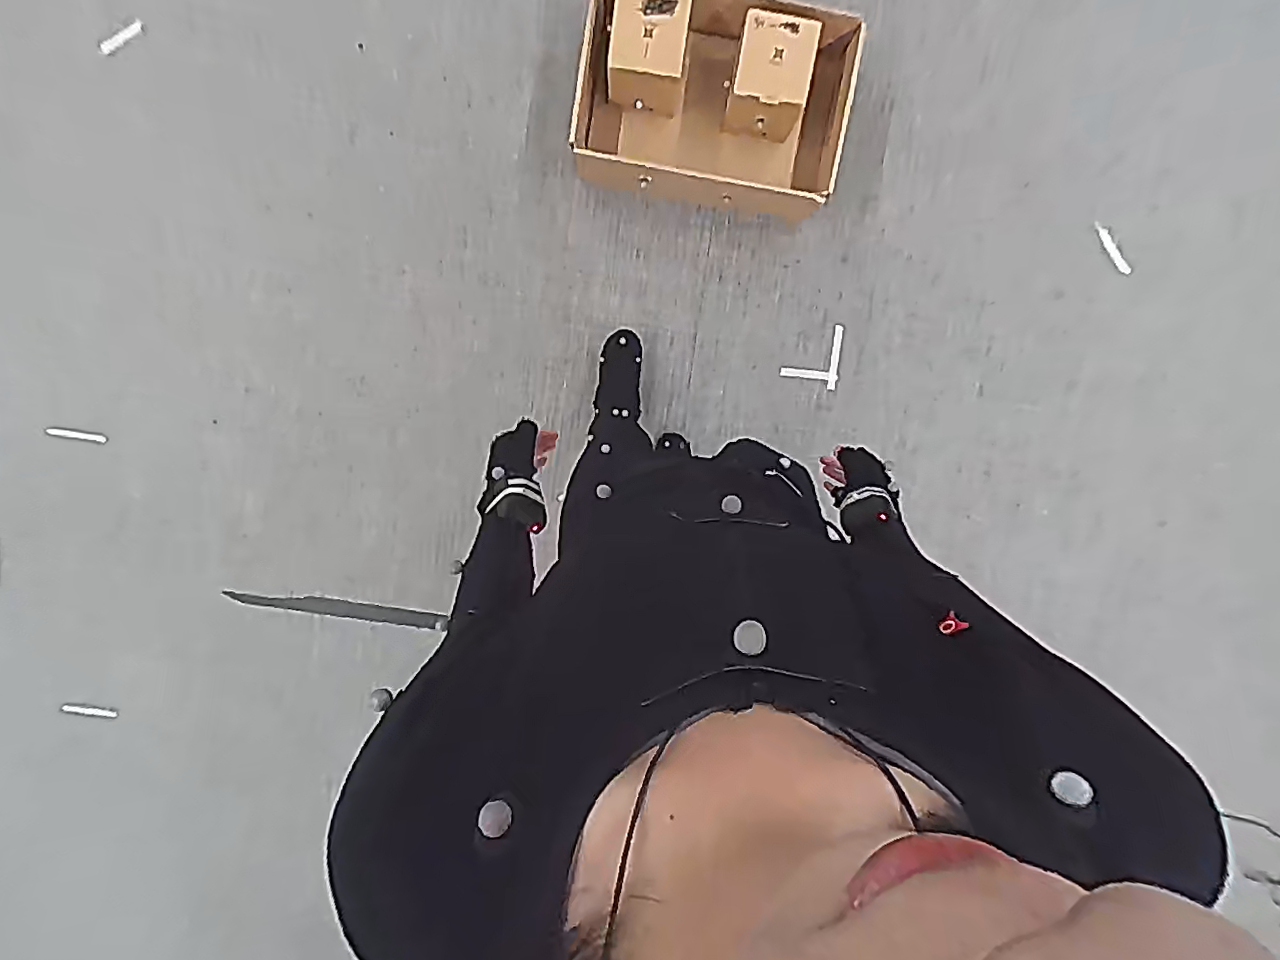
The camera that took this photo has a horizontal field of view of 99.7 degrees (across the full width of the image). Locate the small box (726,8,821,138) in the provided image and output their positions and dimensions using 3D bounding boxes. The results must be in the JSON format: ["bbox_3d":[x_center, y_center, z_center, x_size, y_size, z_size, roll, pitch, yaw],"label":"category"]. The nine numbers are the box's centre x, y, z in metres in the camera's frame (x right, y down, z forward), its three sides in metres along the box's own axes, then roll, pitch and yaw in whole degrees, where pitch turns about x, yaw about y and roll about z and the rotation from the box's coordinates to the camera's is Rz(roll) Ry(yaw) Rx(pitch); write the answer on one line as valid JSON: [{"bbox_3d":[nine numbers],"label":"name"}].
[{"bbox_3d":[0.301,-0.935,1.260,0.168,0.176,0.179,11,99,0],"label":"small box"}]
